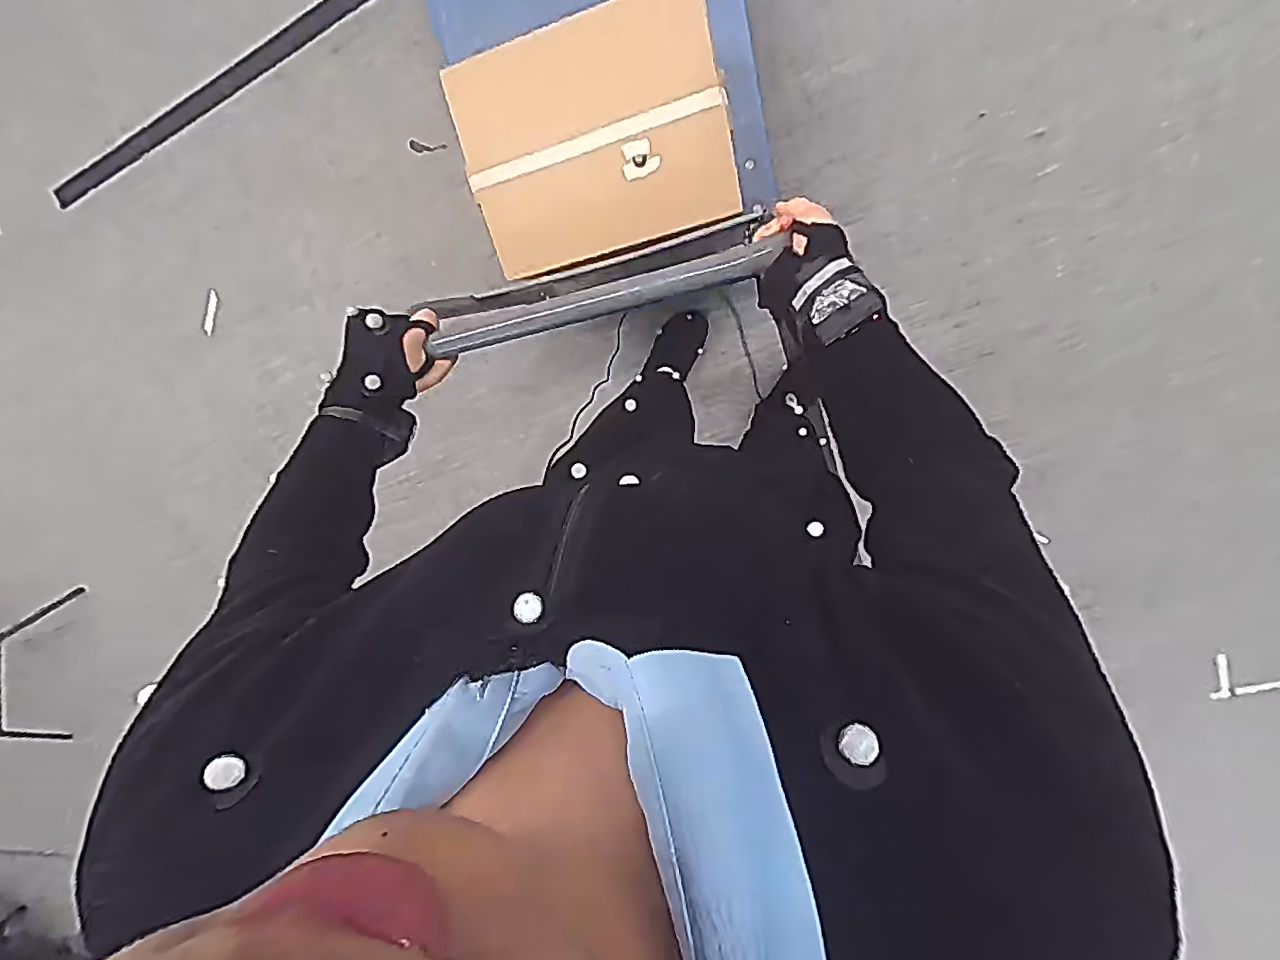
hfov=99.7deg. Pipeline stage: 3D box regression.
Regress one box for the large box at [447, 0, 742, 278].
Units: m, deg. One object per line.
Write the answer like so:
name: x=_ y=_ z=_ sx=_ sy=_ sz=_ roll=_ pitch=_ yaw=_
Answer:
large box: x=-0.050 y=-0.573 z=0.964 sx=0.408 sy=0.320 sz=0.320 roll=-12 pitch=110 yaw=13
